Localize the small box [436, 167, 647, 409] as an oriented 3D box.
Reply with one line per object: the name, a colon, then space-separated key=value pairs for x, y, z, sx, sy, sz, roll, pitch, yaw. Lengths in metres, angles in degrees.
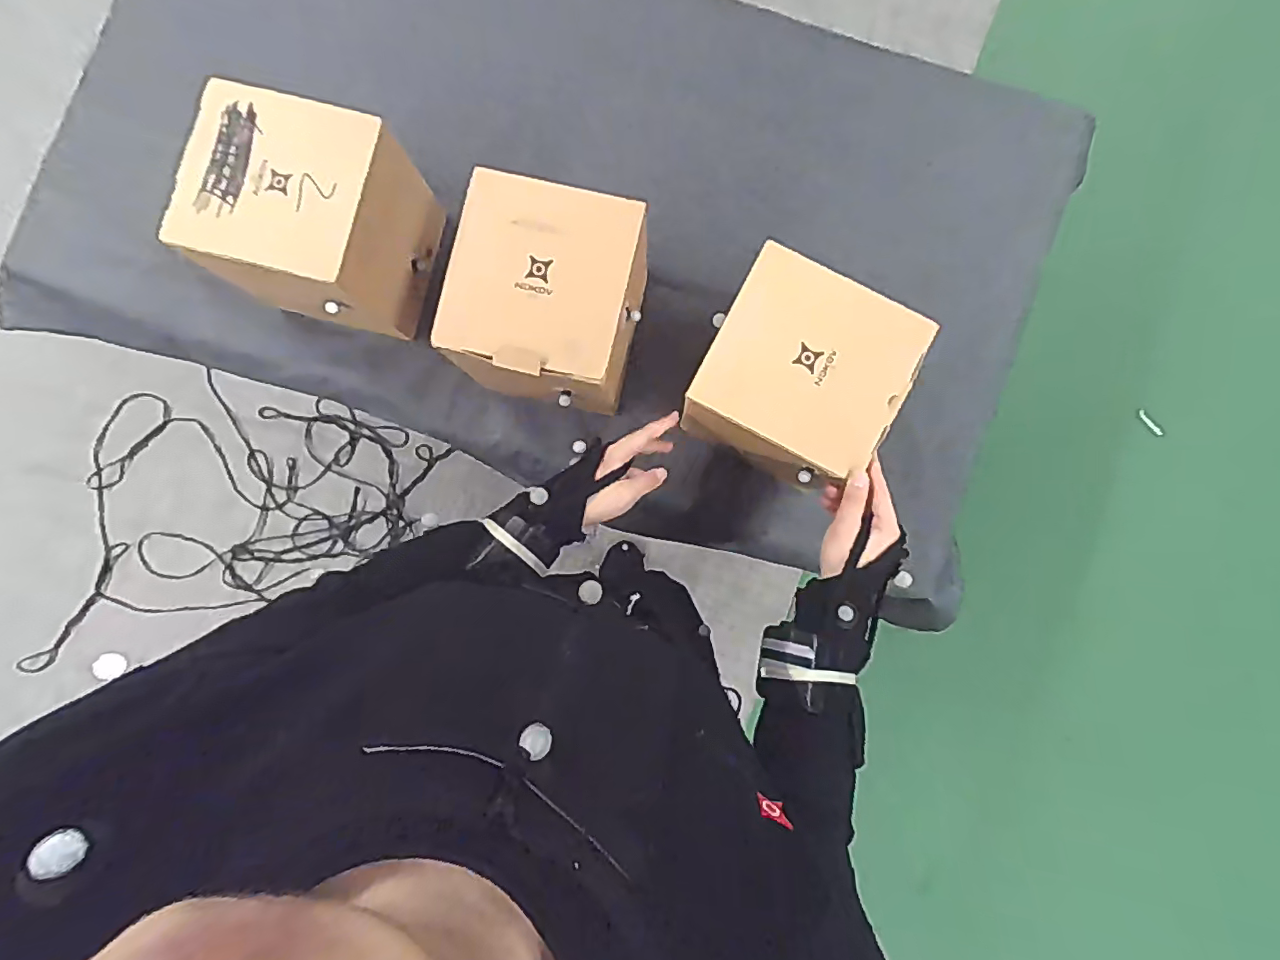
small box: x=-0.089 y=-0.185 z=0.574 sx=0.168 sy=0.176 sz=0.179 roll=13 pitch=86 yaw=0
